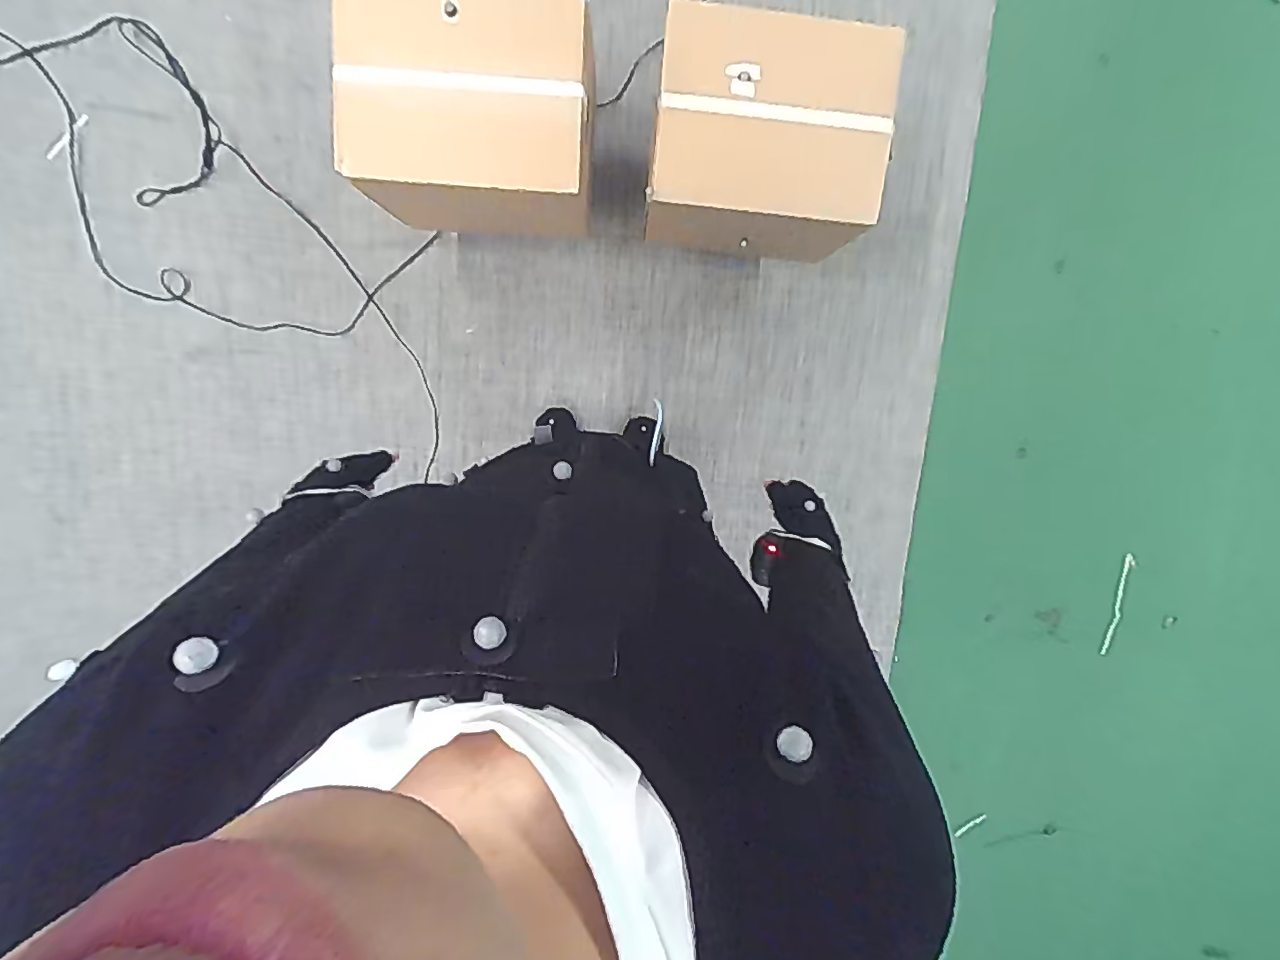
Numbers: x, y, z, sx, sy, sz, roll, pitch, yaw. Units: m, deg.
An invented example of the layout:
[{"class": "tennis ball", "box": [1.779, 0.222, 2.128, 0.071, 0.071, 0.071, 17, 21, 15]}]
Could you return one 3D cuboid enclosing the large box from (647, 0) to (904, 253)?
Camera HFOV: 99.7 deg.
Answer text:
[{"class": "large box", "box": [0.233, -0.658, 1.074, 0.408, 0.320, 0.320, 6, 100, -3]}]
